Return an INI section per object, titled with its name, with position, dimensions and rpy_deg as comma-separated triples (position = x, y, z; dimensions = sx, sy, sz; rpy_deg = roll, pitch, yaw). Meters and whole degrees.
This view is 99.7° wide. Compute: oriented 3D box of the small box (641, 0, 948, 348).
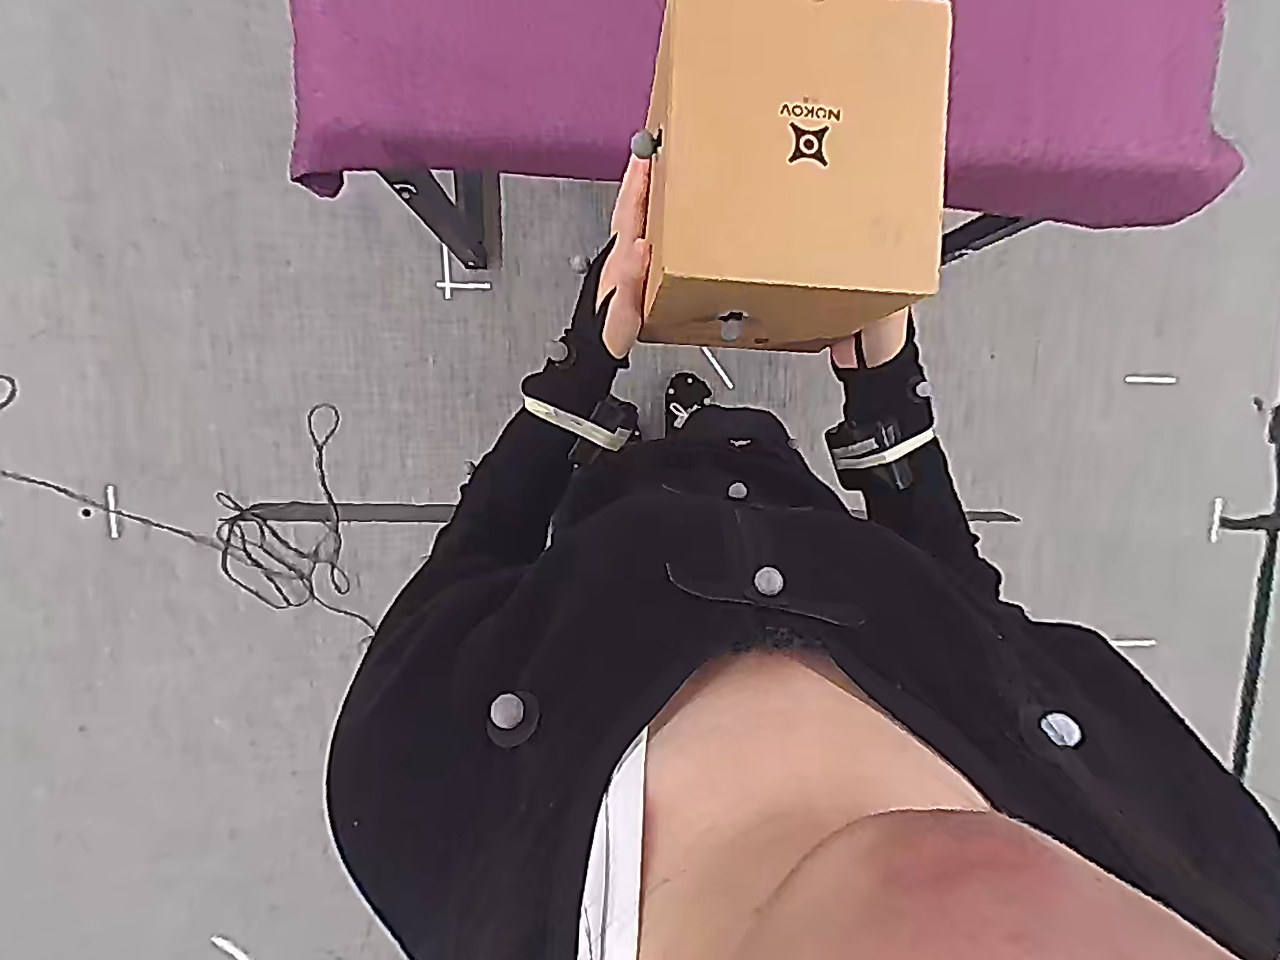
[small box]
position = 0.091, -0.202, 0.396
dimensions = 0.168, 0.176, 0.179
rpy_deg = 2, 90, -6
